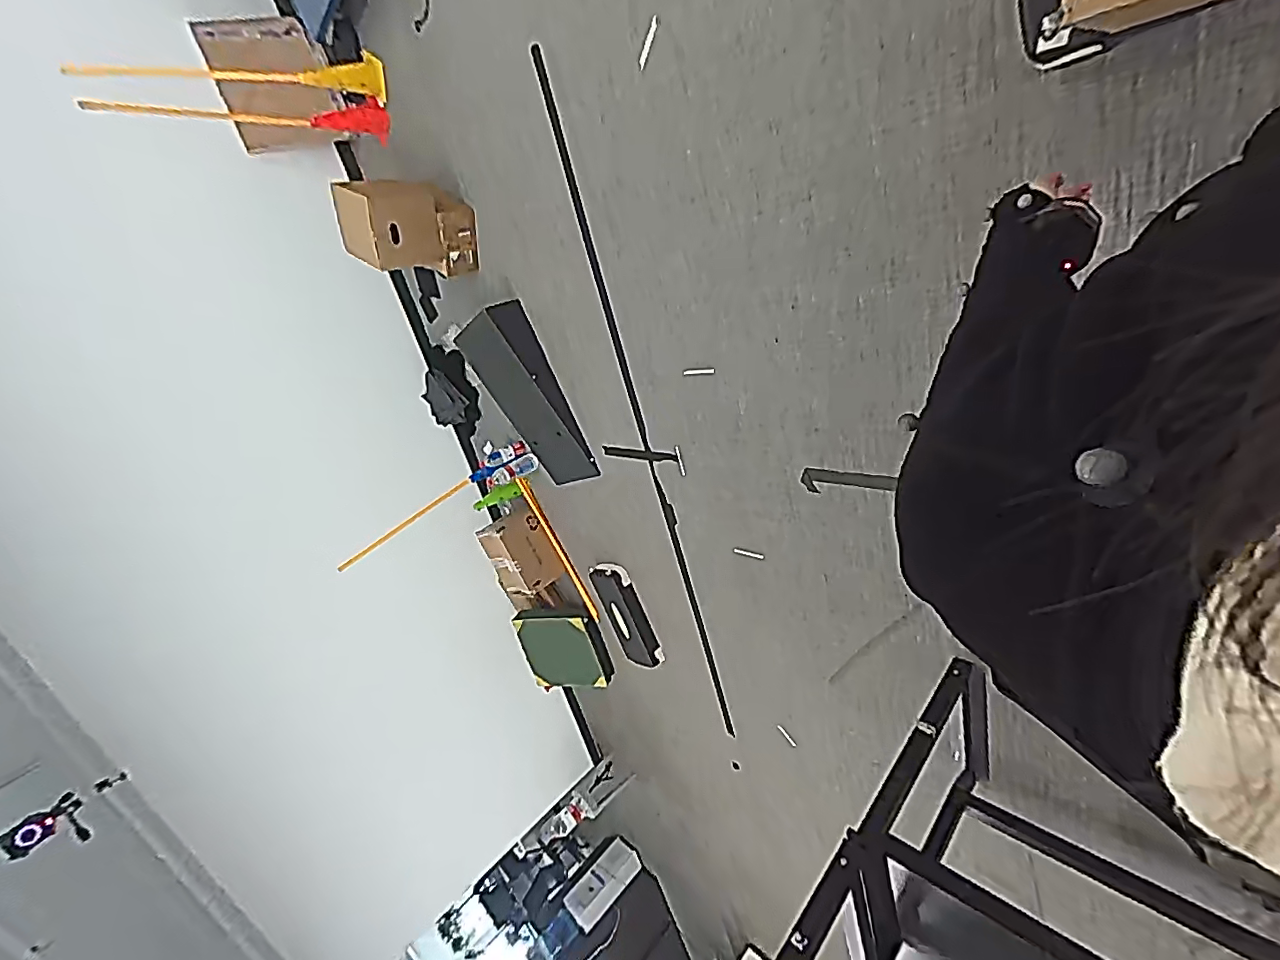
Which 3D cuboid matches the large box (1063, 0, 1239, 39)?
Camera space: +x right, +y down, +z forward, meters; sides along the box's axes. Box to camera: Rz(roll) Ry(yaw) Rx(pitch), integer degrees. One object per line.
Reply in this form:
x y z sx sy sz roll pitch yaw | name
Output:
0.743 -0.731 0.566 0.408 0.320 0.320 14 125 47 | large box

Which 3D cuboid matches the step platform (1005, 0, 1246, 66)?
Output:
0.899 -0.826 0.720 0.684 0.204 0.286 17 128 45 | step platform
